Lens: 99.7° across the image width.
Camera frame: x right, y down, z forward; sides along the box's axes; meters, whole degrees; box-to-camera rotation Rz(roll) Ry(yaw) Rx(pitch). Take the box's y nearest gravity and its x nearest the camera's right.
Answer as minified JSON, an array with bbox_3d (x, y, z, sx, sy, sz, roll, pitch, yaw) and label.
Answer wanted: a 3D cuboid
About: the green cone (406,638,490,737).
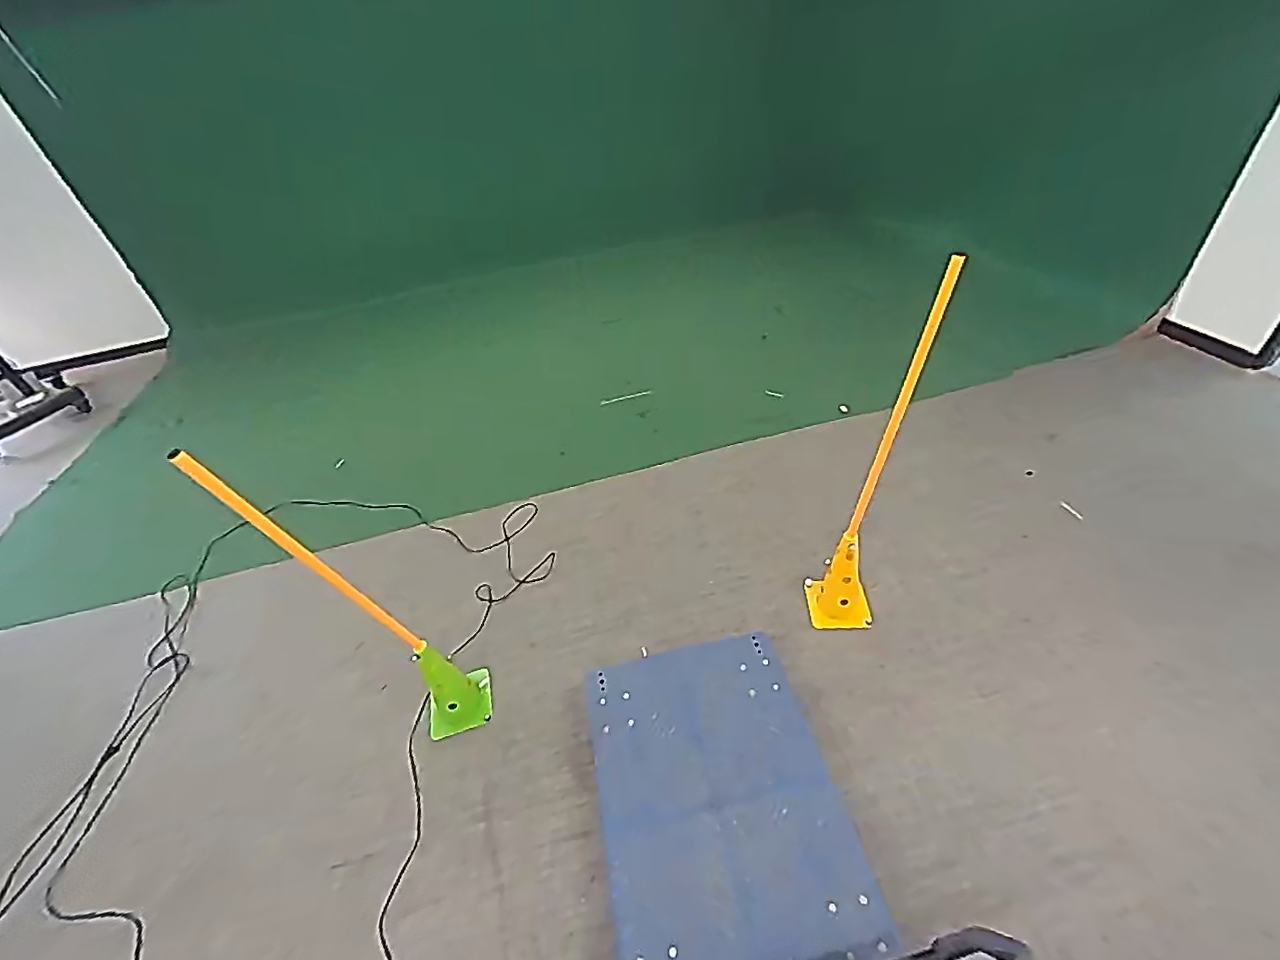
[{"bbox_3d":[-0.625,0.600,1.675,0.202,0.368,0.200,-18,41,-7],"label":"green cone"}]
